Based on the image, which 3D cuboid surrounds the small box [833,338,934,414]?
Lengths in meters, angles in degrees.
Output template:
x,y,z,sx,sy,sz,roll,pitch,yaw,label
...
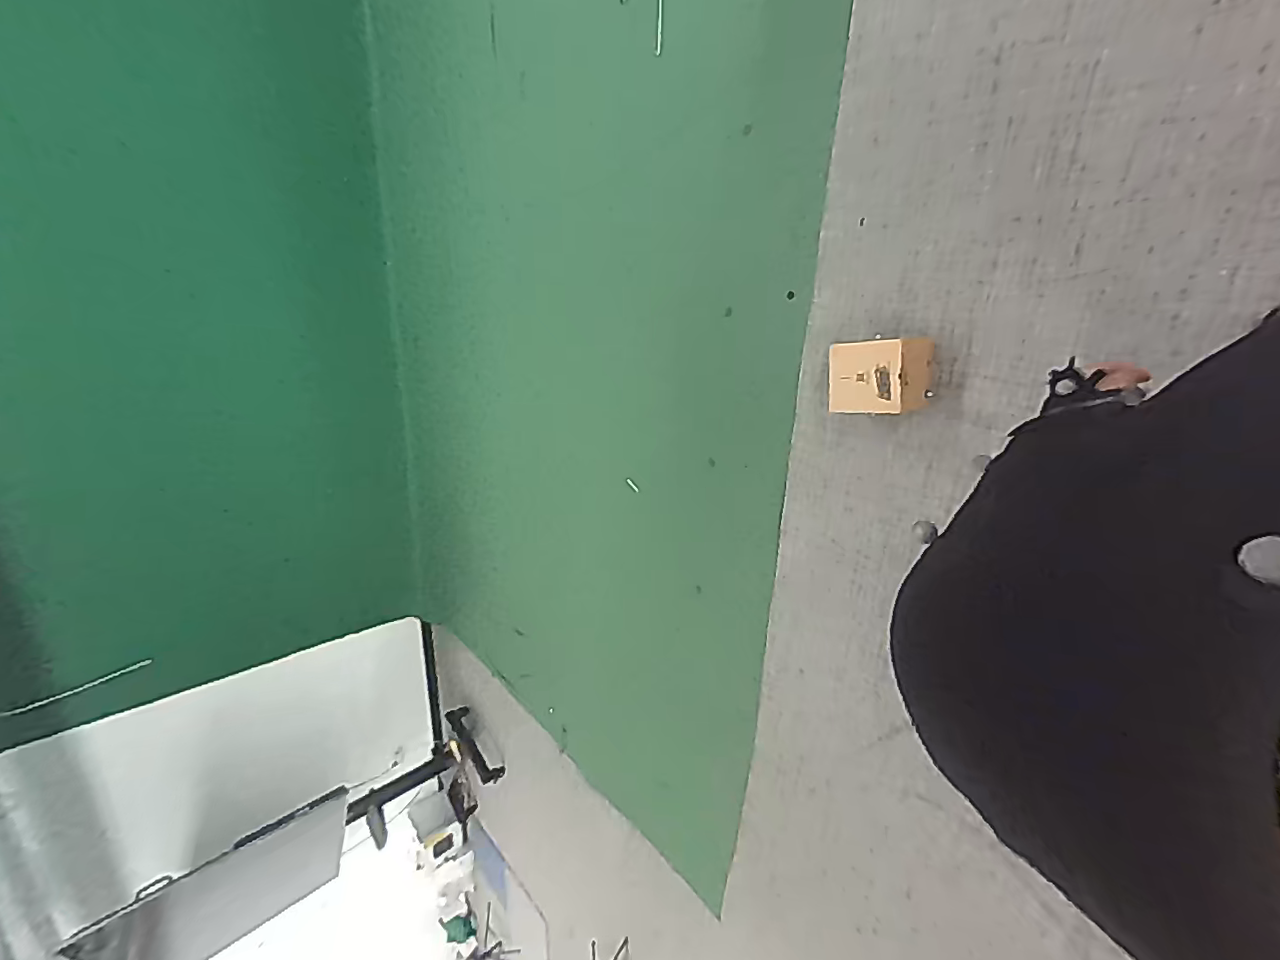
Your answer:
x,y,z,sx,sy,sz,roll,pitch,yaw,label
0.587,-0.252,1.300,0.179,0.176,0.168,9,107,48,small box
